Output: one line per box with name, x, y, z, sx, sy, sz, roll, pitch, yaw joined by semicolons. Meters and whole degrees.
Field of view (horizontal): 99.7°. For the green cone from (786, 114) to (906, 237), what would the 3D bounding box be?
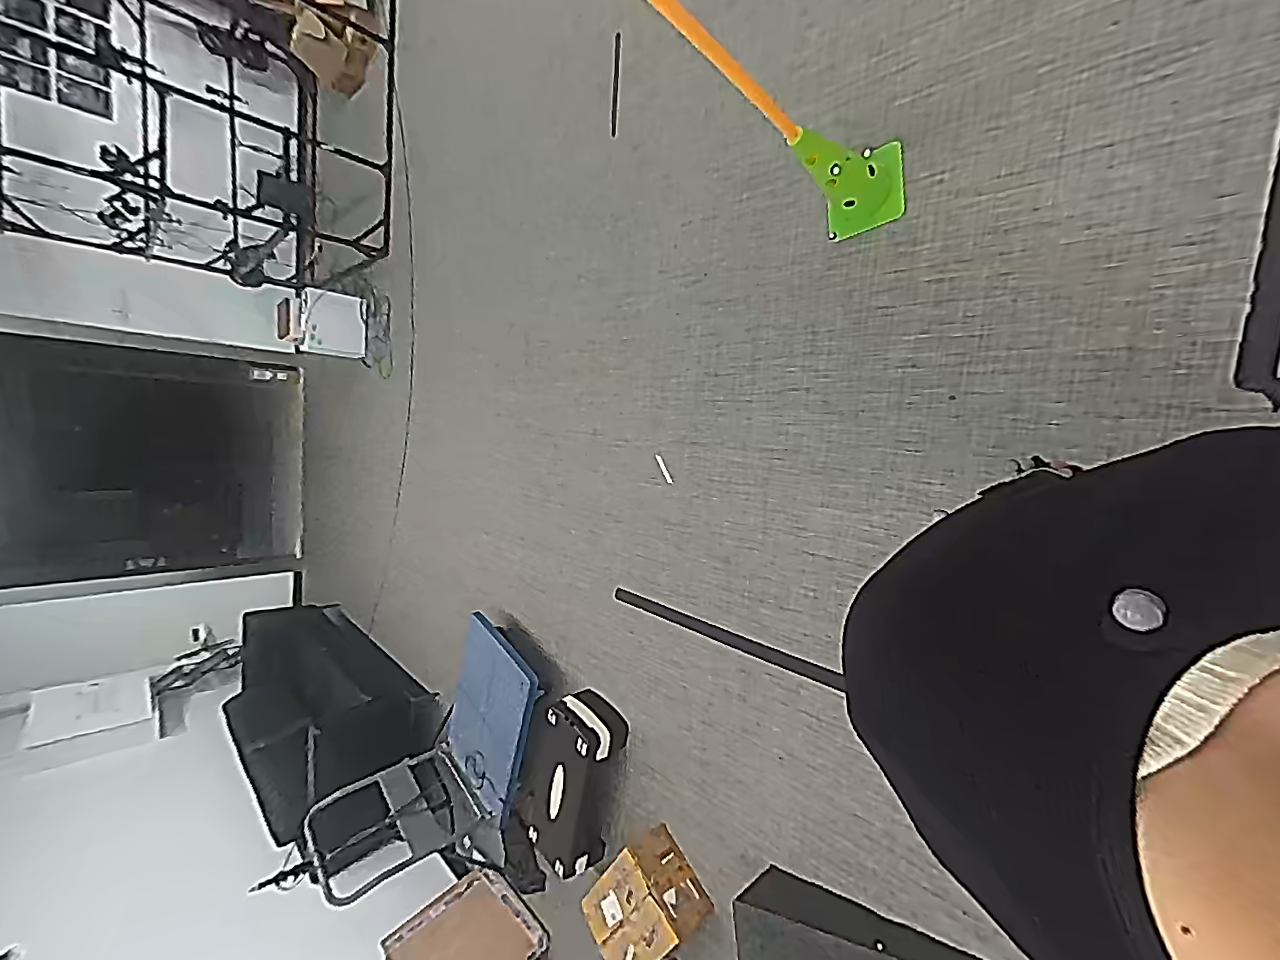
green cone;0.465;-0.764;1.293;0.200;0.368;0.202;-5;85;46
